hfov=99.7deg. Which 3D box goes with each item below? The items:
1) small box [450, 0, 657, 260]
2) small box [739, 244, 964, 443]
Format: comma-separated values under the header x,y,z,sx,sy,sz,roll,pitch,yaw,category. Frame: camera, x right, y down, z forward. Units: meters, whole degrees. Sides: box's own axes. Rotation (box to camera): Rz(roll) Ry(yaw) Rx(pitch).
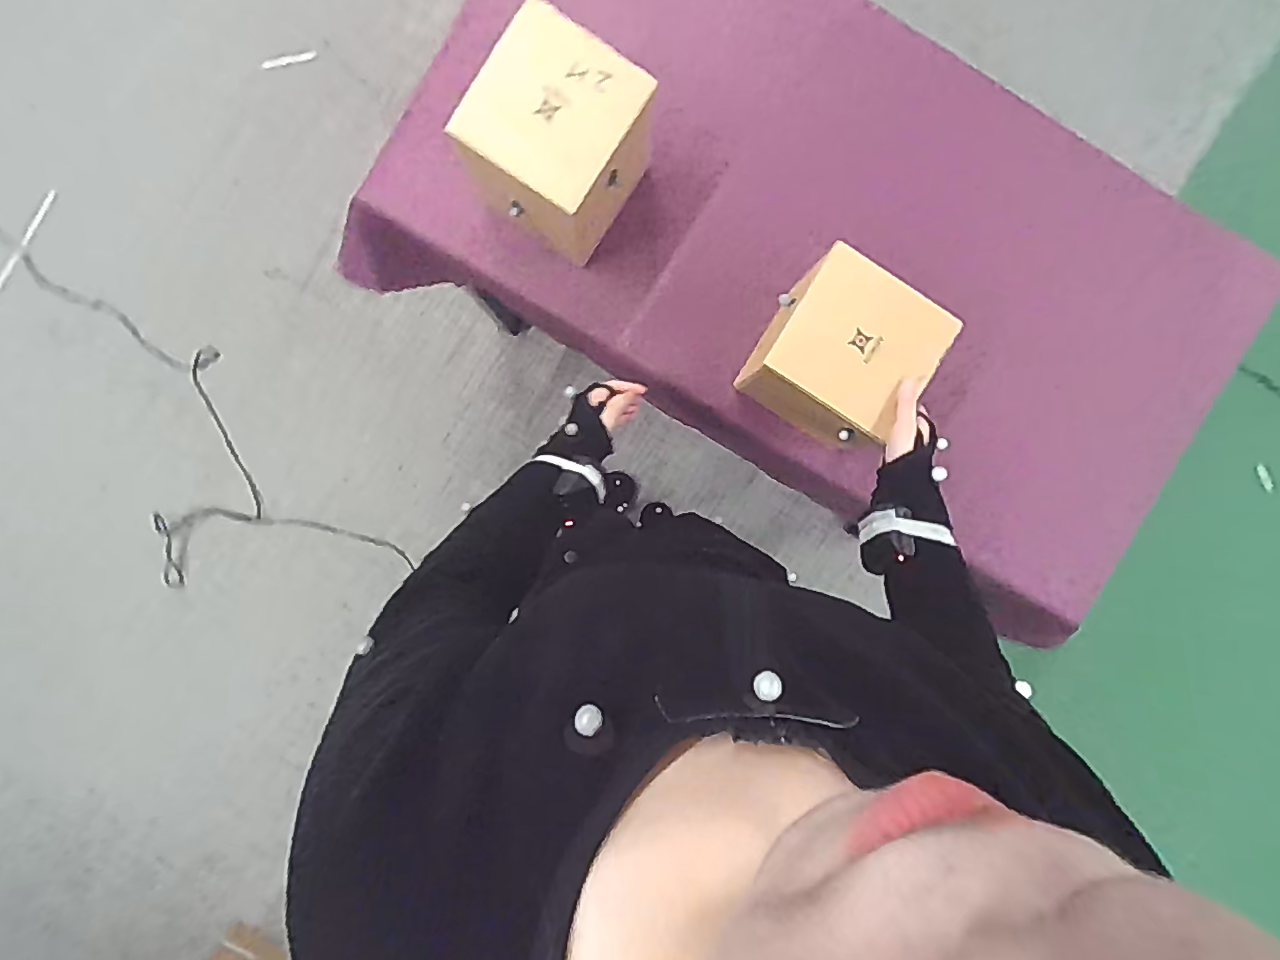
x,y,z,sx,sy,sz,roll,pitch,yaw,category
-0.095,-0.407,0.664,0.168,0.176,0.179,34,91,-4,small box
0.250,-0.155,0.689,0.179,0.176,0.168,32,91,-4,small box
